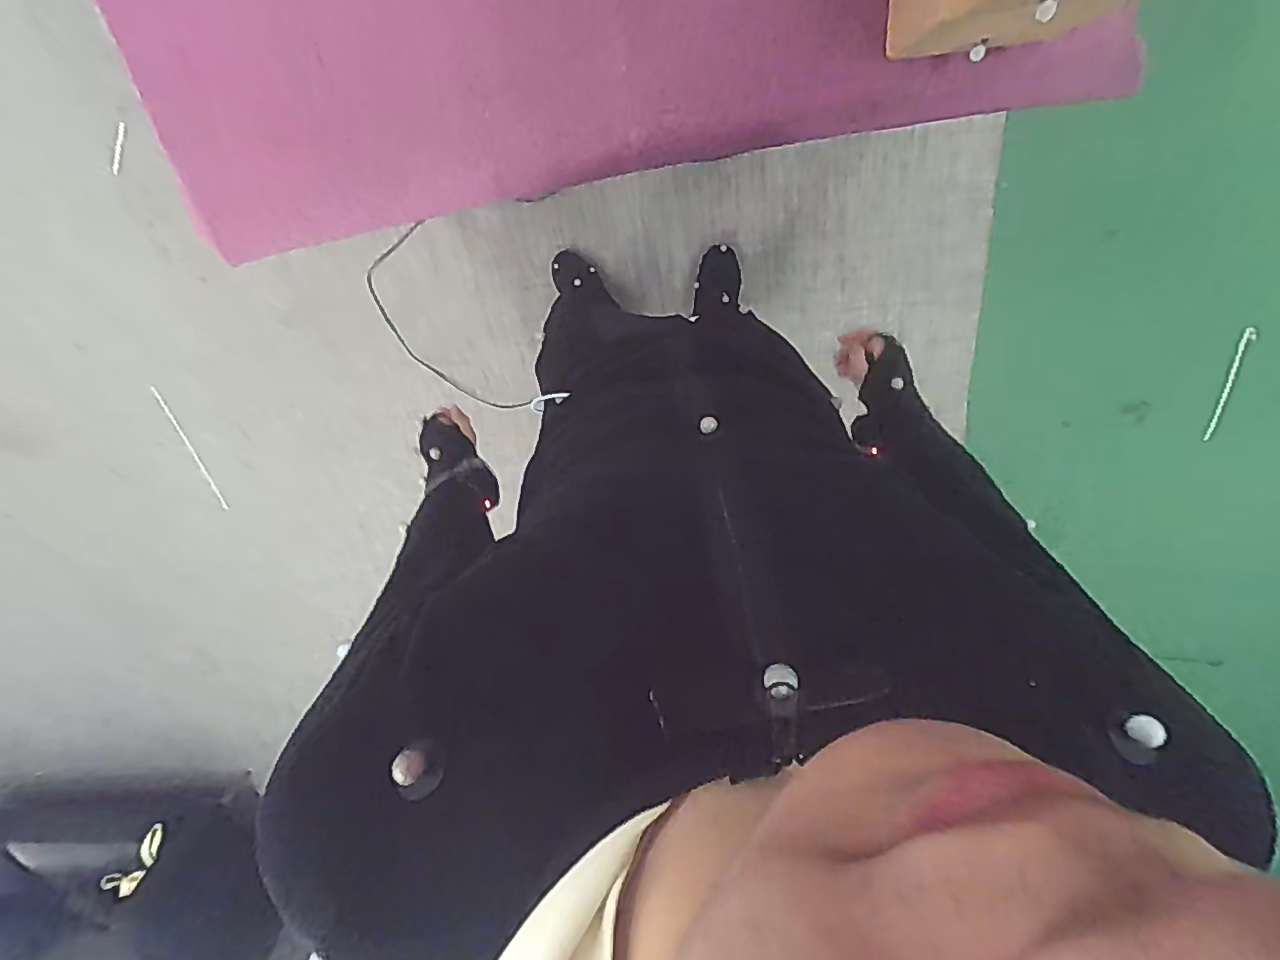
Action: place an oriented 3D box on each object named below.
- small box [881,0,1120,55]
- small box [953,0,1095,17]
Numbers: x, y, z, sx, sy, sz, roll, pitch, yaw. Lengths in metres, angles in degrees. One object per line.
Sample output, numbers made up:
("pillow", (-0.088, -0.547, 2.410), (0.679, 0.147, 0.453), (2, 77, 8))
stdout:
("small box", (0.353, -0.533, 0.515), (0.179, 0.176, 0.168), (-2, 117, 8))
("small box", (0.337, -0.460, 0.369), (0.168, 0.176, 0.179), (-1, 118, 9))
